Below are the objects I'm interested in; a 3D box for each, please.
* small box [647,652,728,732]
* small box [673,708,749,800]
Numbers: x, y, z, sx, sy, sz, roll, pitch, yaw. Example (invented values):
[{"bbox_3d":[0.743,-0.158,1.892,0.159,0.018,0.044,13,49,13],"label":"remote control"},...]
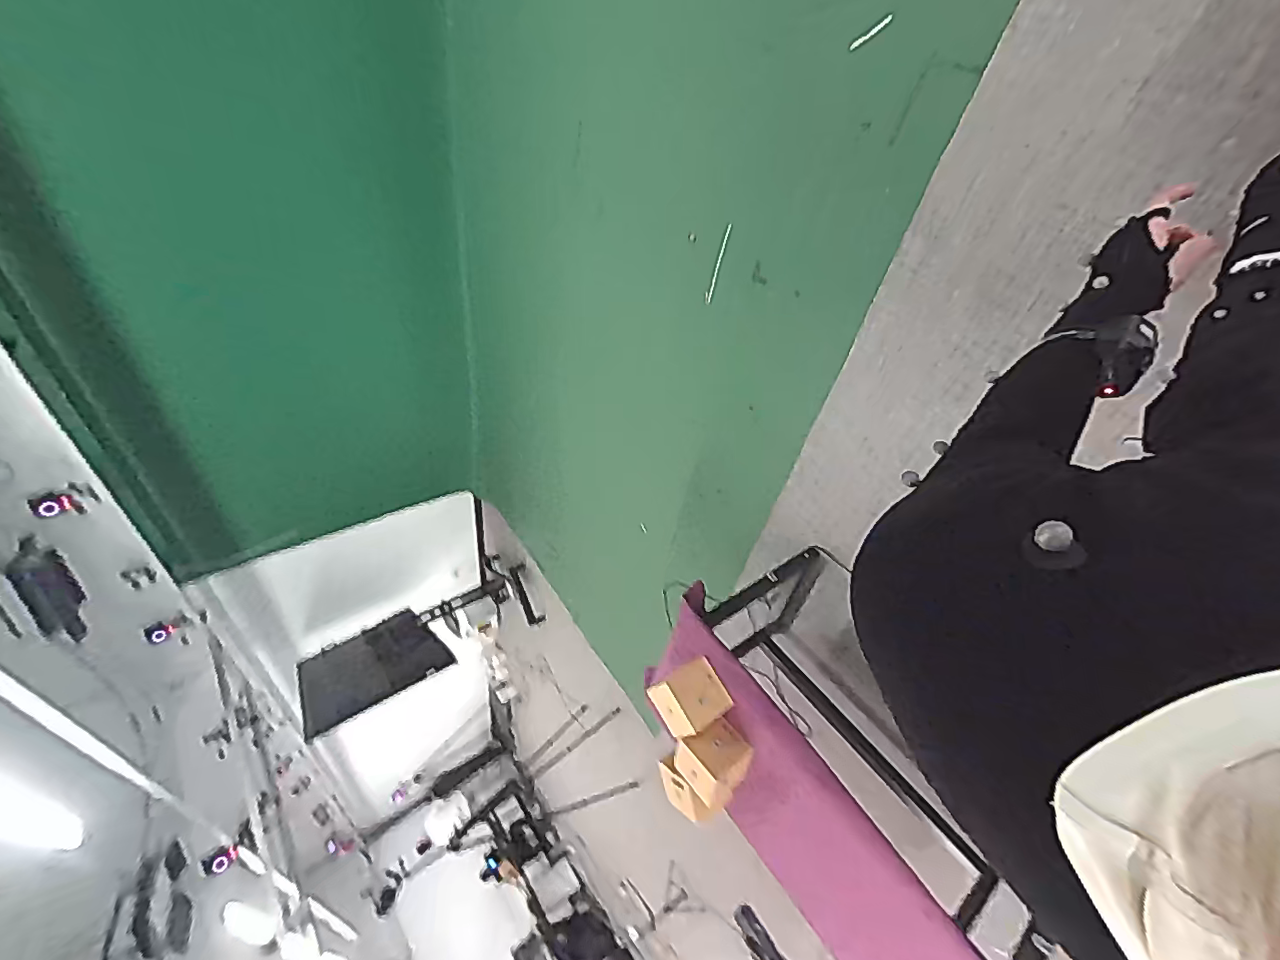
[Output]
[{"bbox_3d":[0.155,0.673,1.722,0.168,0.176,0.179,56,149,14],"label":"small box"},{"bbox_3d":[0.230,0.871,1.736,0.168,0.176,0.179,39,138,38],"label":"small box"}]
